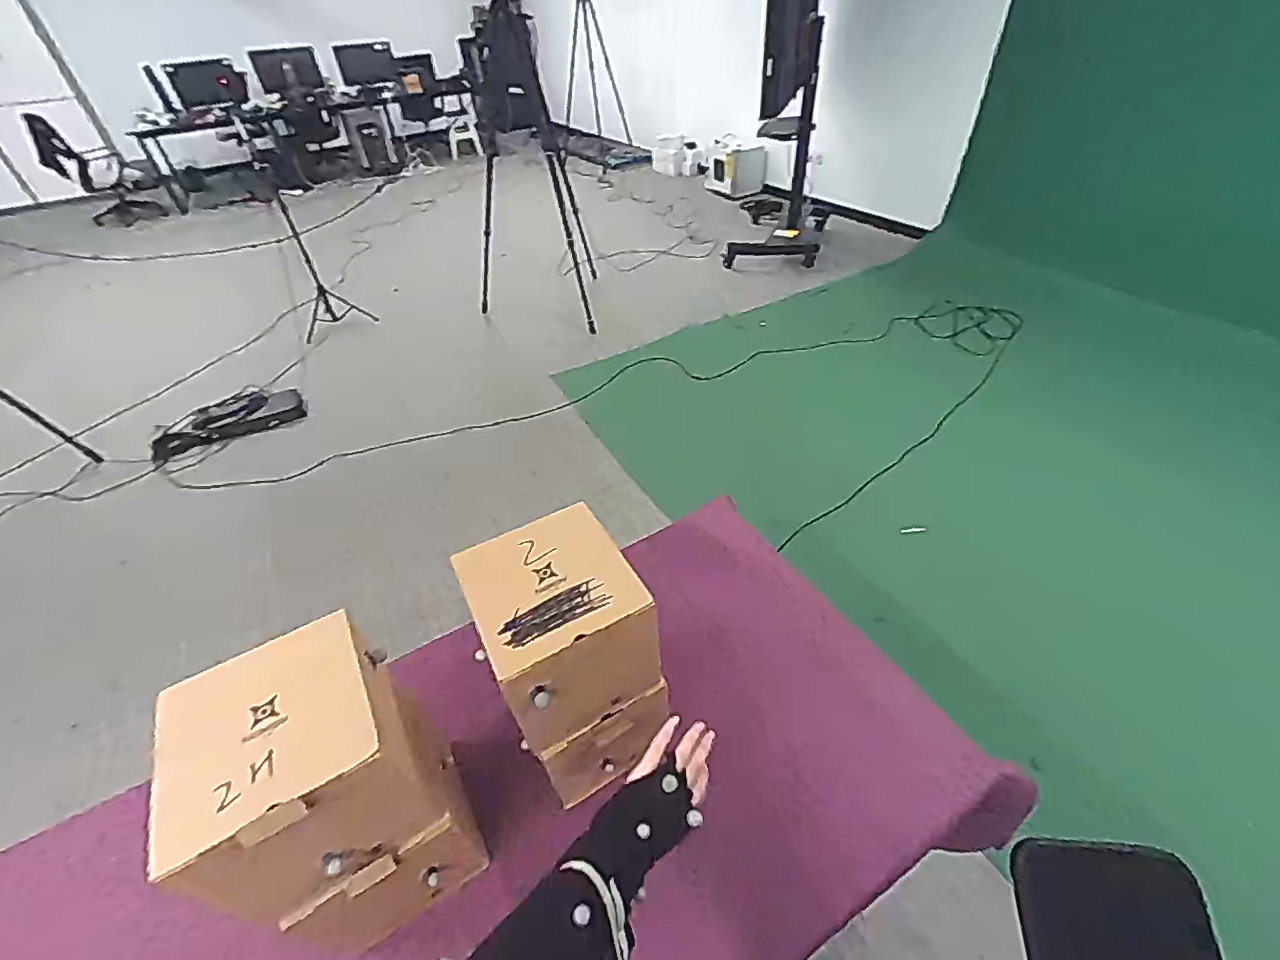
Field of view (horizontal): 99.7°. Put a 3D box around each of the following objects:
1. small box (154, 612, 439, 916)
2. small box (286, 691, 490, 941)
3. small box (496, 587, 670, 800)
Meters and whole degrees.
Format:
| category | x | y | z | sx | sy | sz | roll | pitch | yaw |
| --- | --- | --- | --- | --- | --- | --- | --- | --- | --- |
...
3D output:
| category | x | y | z | sx | sy | sz | roll | pitch | yaw |
| --- | --- | --- | --- | --- | --- | --- | --- | --- | --- |
| small box | -0.320 | 0.272 | 0.528 | 0.168 | 0.176 | 0.179 | -25 | 46 | -21 |
| small box | -0.295 | 0.395 | 0.636 | 0.168 | 0.176 | 0.179 | -24 | 45 | -20 |
| small box | -0.073 | 0.286 | 0.732 | 0.168 | 0.176 | 0.179 | -25 | 46 | -20 |
